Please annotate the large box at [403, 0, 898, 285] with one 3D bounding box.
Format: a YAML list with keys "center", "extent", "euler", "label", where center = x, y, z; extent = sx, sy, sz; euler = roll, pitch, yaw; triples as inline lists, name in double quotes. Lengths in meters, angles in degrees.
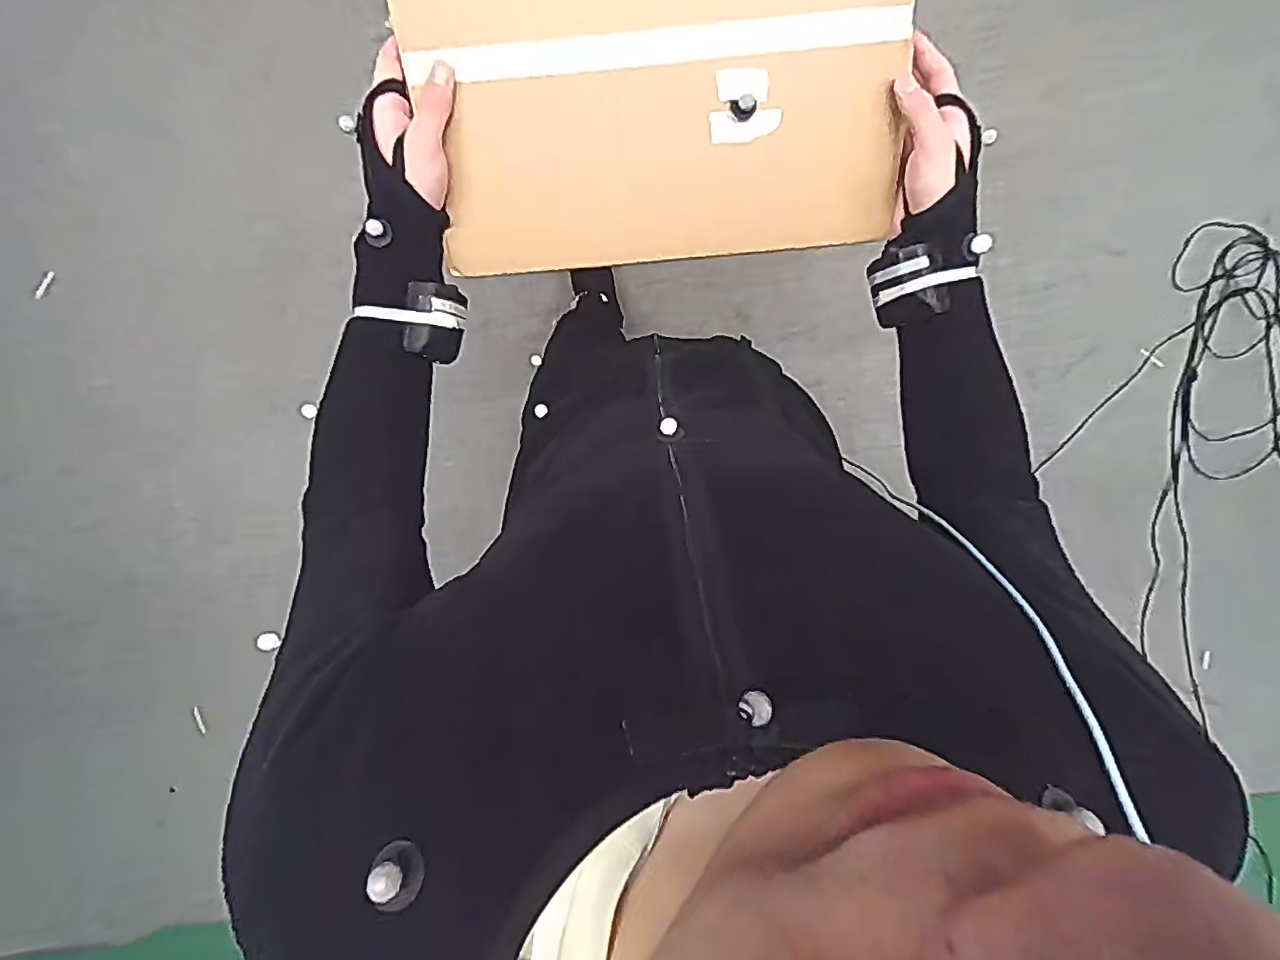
- center: [0.007, -0.403, 0.586]
  extent: [0.408, 0.320, 0.320]
  euler: [-5, 114, -1]
  label: "large box"
